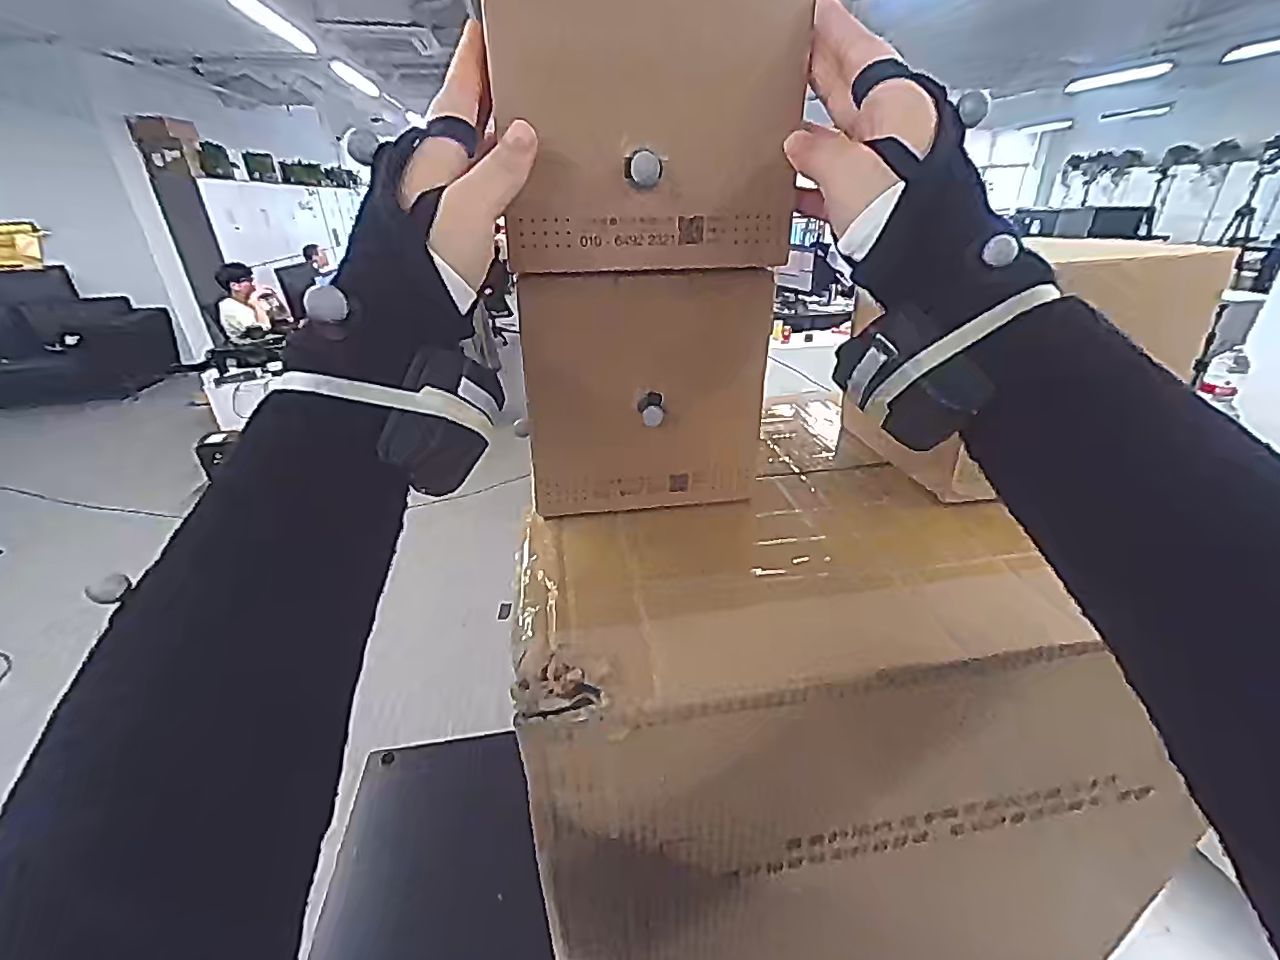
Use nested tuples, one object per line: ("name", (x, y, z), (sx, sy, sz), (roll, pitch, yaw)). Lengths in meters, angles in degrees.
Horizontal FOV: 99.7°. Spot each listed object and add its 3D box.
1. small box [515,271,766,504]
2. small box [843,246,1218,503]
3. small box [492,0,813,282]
("small box", (-0.008, -0.088, 0.449), (0.168, 0.176, 0.179), (-5, 27, -9))
("small box", (0.289, -0.097, 0.453), (0.168, 0.176, 0.179), (-7, 27, -6))
("small box", (-0.004, -0.230, 0.362), (0.168, 0.176, 0.179), (-4, 26, -7))
